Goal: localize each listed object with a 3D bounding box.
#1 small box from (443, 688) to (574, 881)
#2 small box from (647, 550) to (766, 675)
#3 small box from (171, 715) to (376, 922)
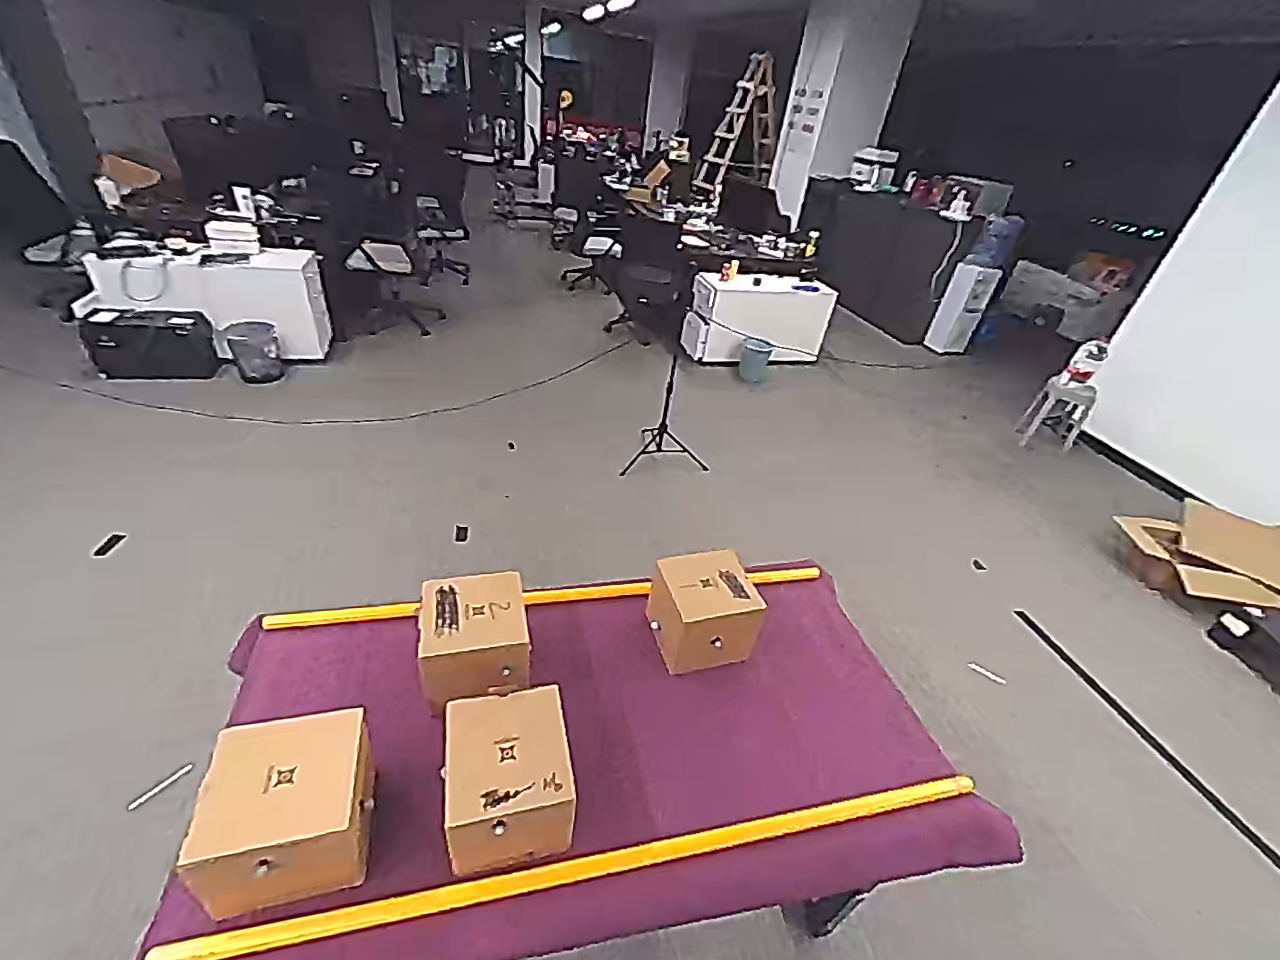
[{"bbox_3d":[-0.194,0.441,0.793,0.168,0.176,0.179,-4,36,-16],"label":"small box"},{"bbox_3d":[0.126,0.268,1.100,0.179,0.176,0.168,-6,39,-17],"label":"small box"},{"bbox_3d":[-0.465,0.449,0.725,0.179,0.176,0.168,-4,36,-17],"label":"small box"}]
